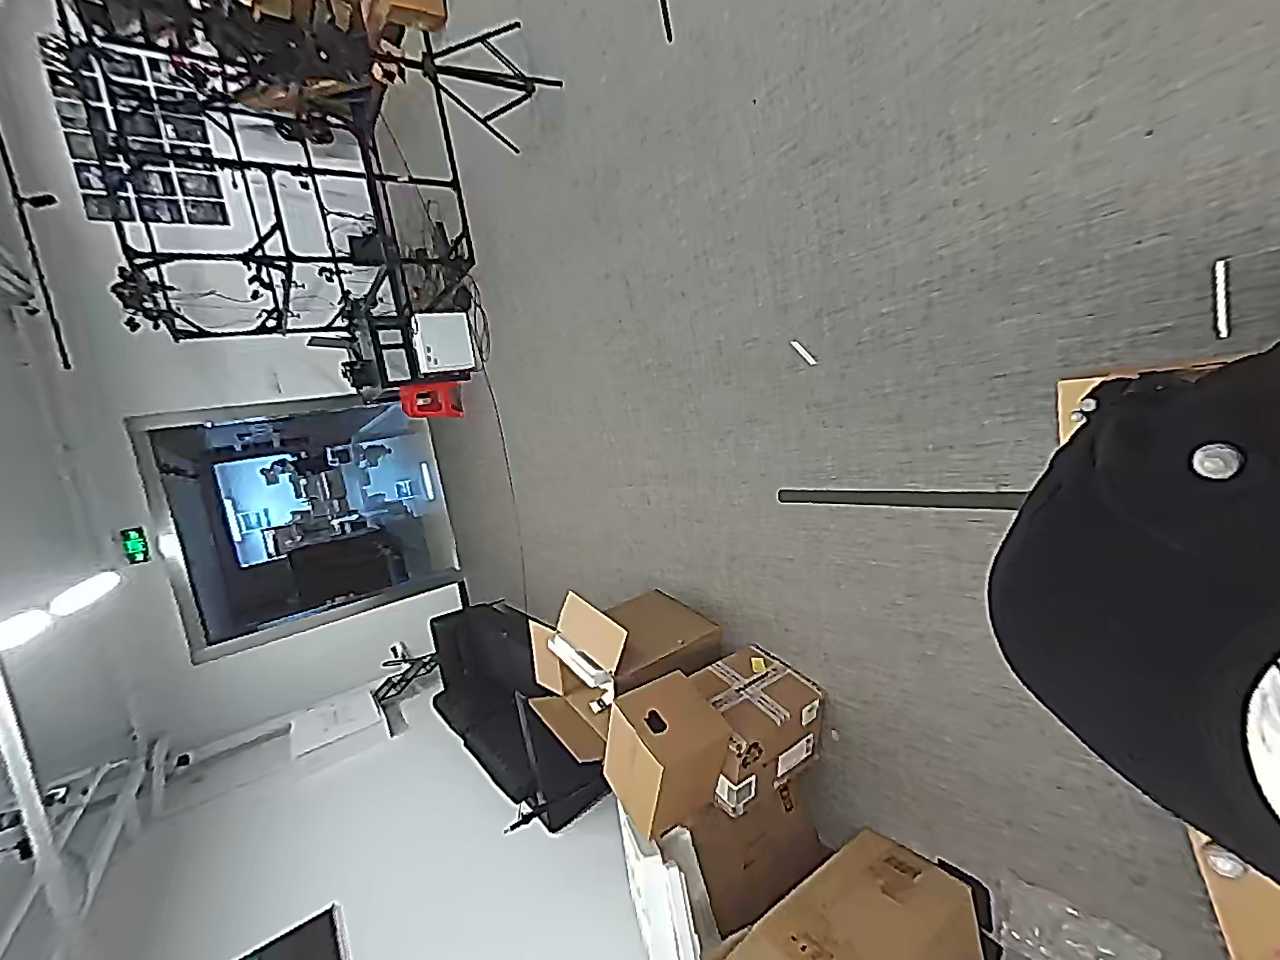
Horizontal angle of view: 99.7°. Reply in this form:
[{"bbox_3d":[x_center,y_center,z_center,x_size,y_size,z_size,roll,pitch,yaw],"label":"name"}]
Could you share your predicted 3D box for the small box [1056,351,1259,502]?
[{"bbox_3d":[0.706,-0.071,0.738,0.168,0.179,0.176,4,106,57],"label":"small box"}]
